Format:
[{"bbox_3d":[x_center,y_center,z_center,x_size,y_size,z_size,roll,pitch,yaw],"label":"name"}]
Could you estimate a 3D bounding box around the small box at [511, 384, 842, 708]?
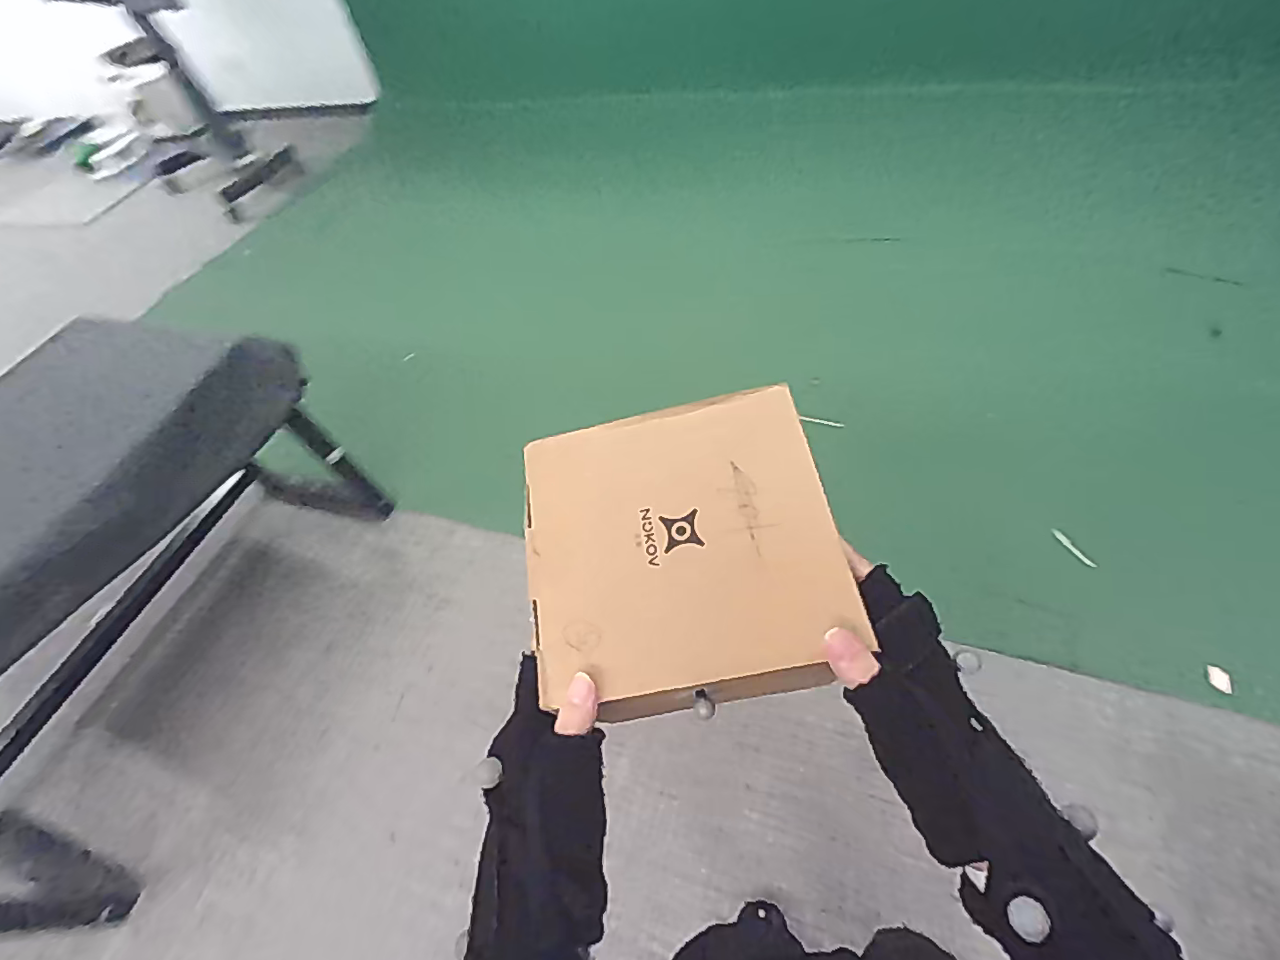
[{"bbox_3d":[0.024,0.062,0.393,0.179,0.176,0.168,-13,63,4],"label":"small box"}]
